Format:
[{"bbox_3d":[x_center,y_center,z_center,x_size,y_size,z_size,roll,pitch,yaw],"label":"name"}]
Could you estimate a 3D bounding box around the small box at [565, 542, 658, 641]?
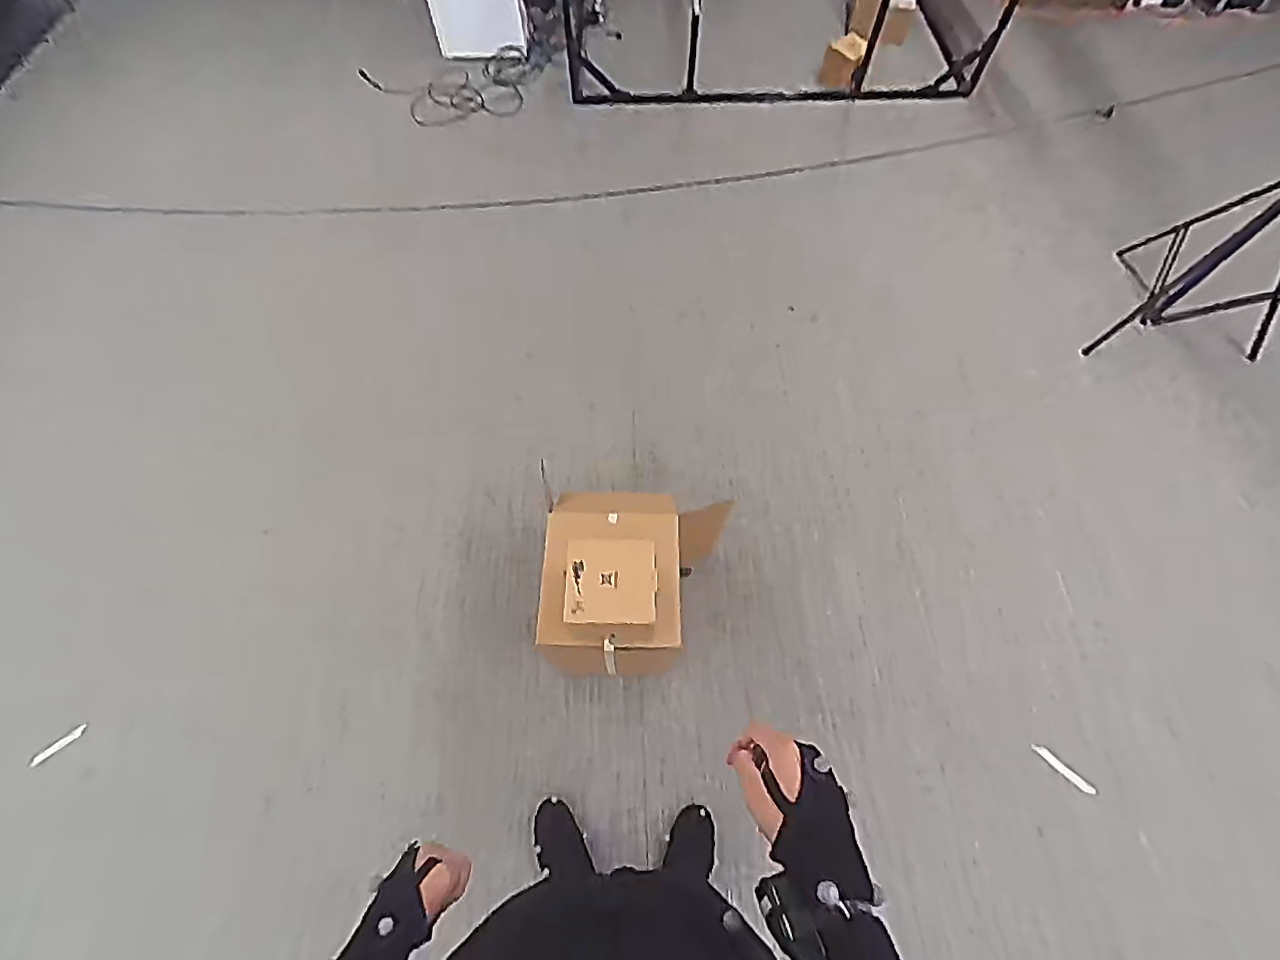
[{"bbox_3d":[-0.054,0.234,1.116,0.179,0.176,0.168,1,65,0],"label":"small box"}]
